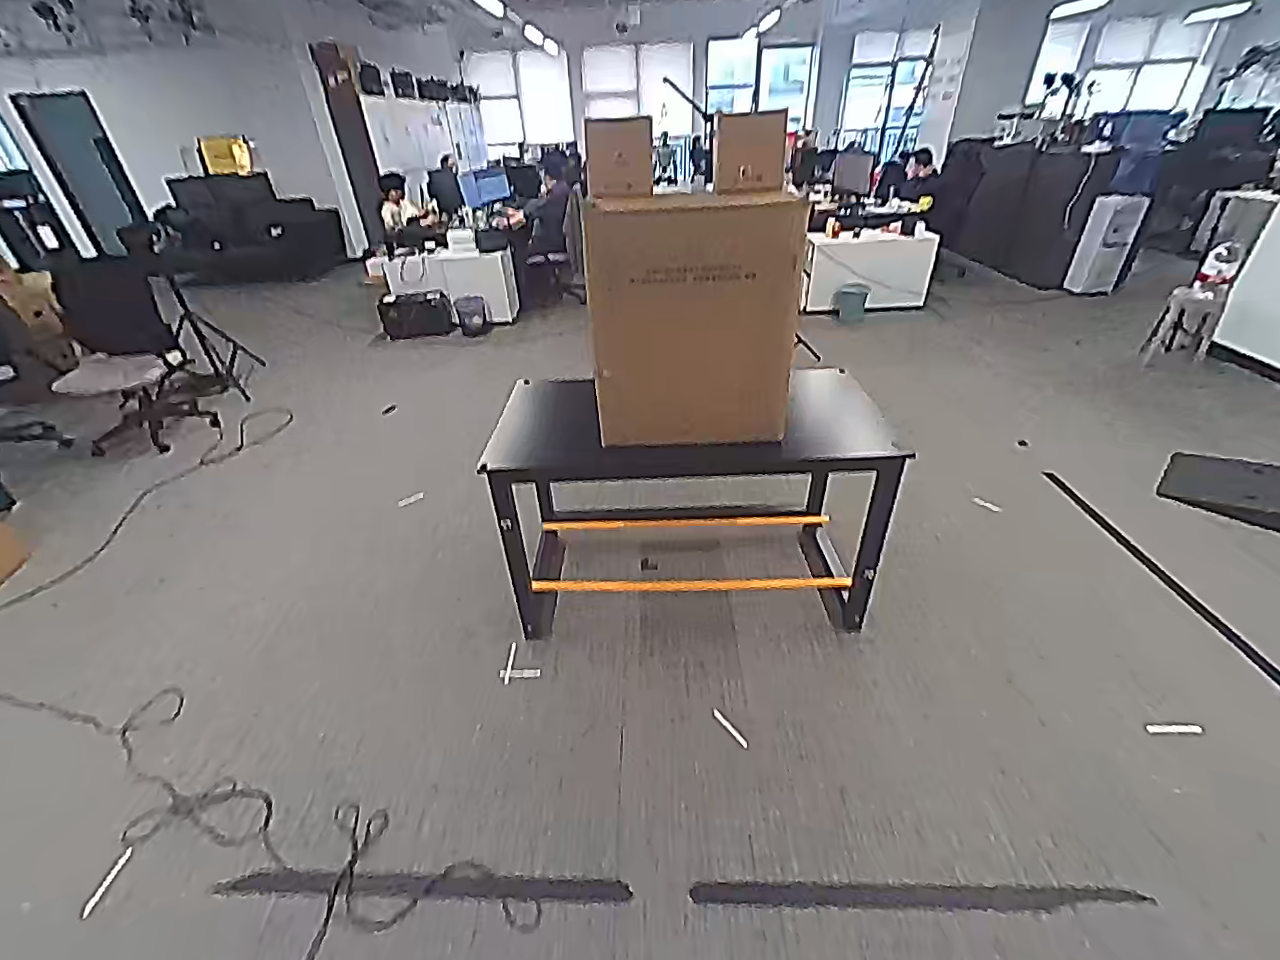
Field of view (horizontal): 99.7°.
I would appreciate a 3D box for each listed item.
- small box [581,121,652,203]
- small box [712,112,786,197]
[{"bbox_3d":[-0.060,-0.810,1.381,0.168,0.176,0.179,-4,33,-2],"label":"small box"},{"bbox_3d":[0.268,-0.817,1.364,0.168,0.176,0.179,-3,33,5],"label":"small box"}]
